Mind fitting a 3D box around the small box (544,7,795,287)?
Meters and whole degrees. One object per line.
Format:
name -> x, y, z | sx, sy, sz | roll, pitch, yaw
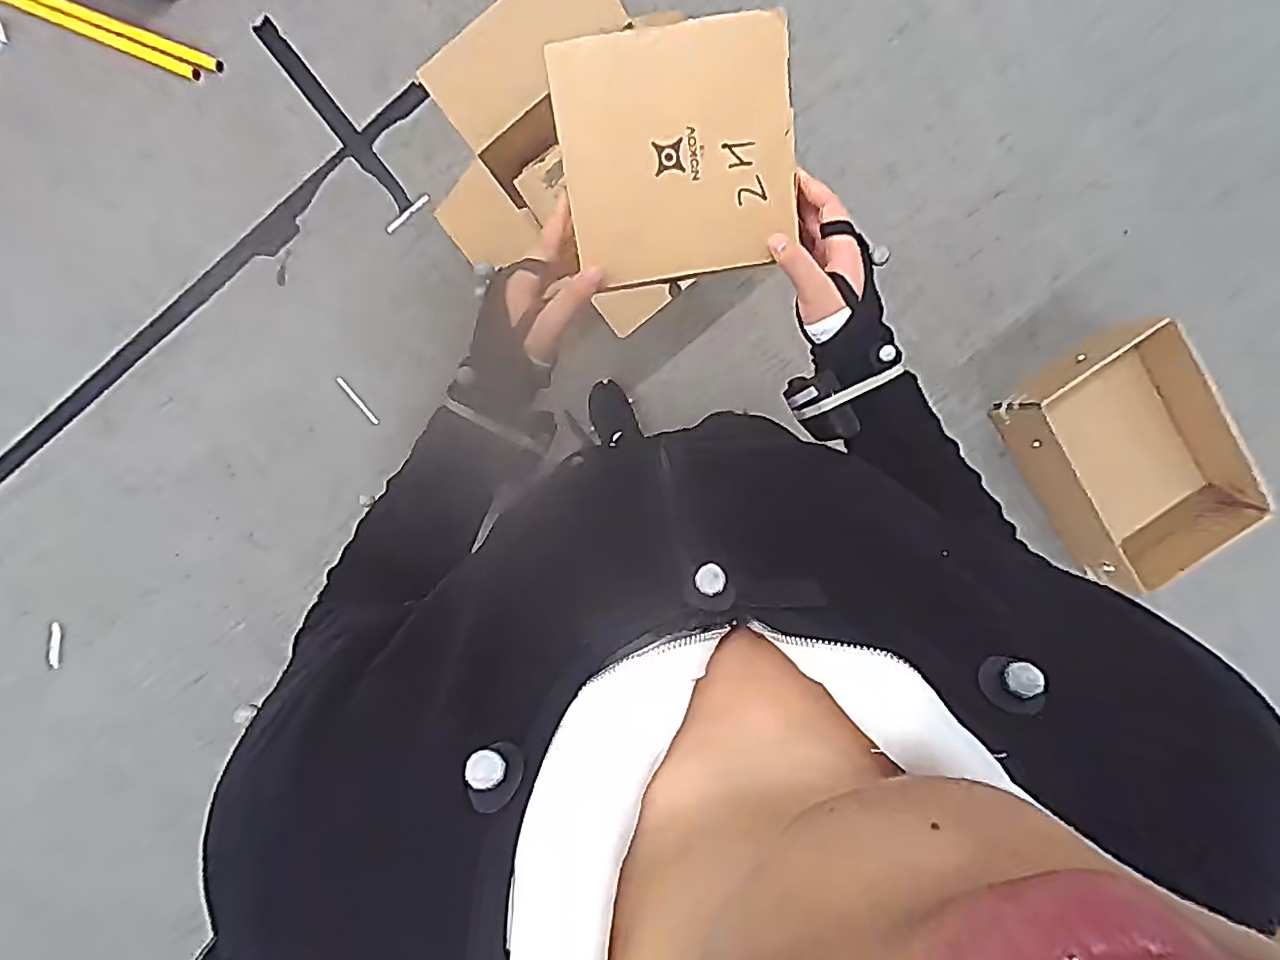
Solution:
small box -> 0.023, -0.271, 0.484 | 0.179, 0.176, 0.168 | -10, 109, -1
